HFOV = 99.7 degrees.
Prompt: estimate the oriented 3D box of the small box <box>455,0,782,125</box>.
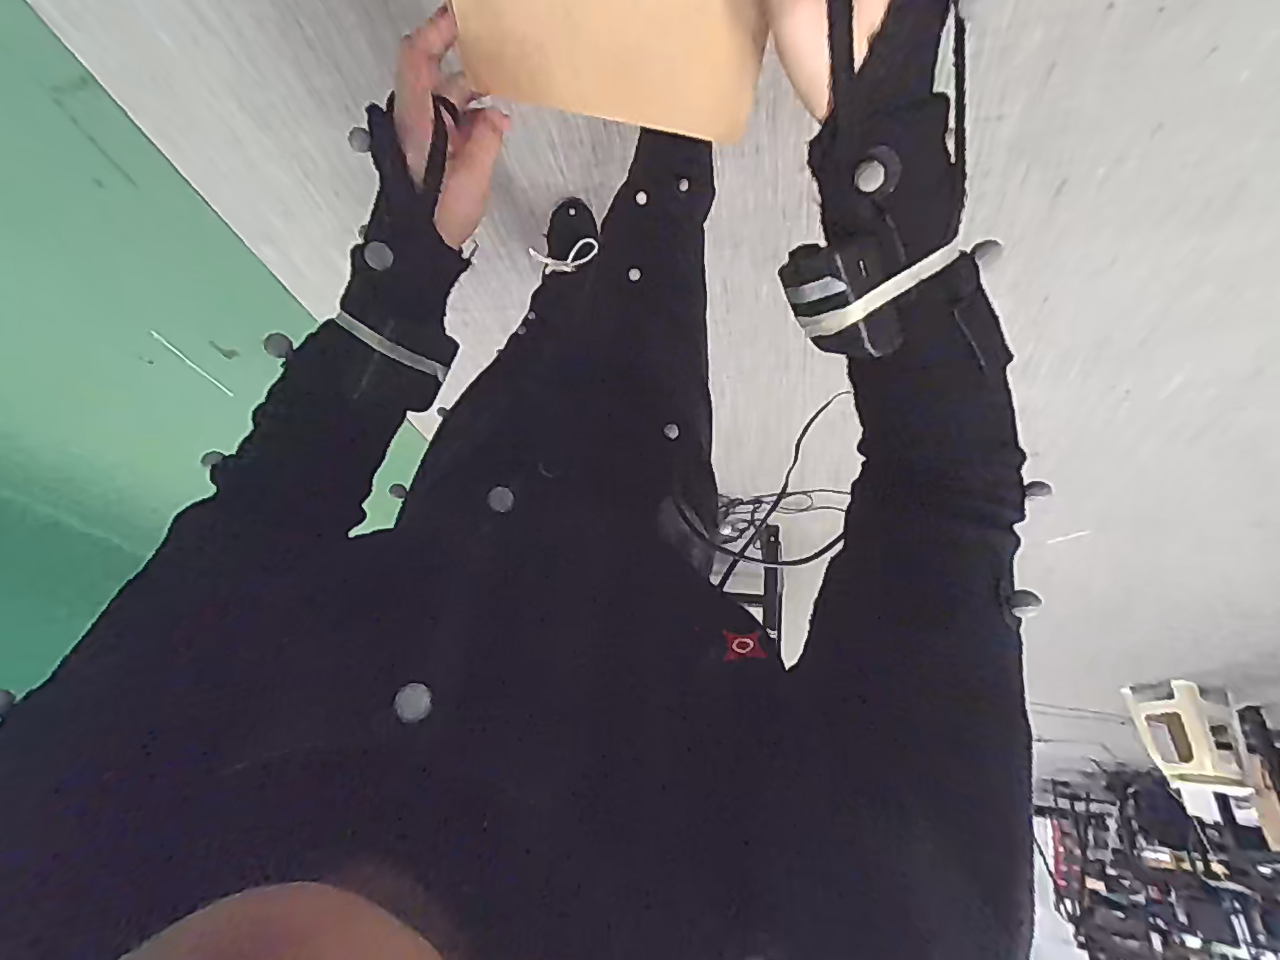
[{"bbox_3d":[0.002,-0.333,0.281,0.179,0.176,0.168,13,159,1],"label":"small box"}]
